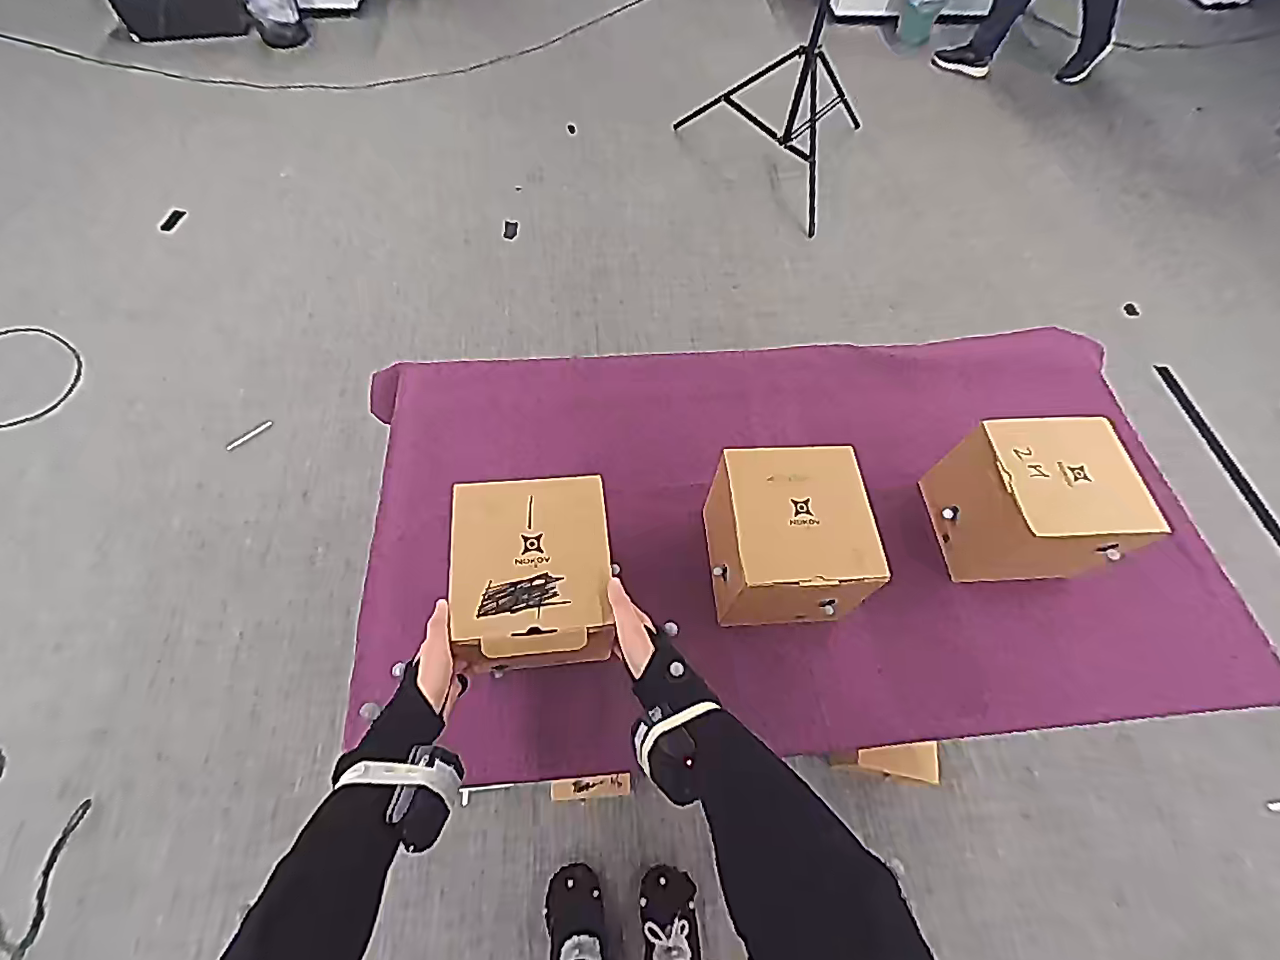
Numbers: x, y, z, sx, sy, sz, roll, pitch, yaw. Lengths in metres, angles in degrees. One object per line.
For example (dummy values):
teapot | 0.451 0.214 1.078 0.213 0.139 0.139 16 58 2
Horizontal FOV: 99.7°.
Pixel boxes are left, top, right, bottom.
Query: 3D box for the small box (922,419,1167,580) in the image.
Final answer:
small box | 0.527 0.031 0.737 0.179 0.176 0.168 -2 61 -4

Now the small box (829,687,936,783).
small box | 0.563 0.596 1.266 0.179 0.176 0.168 11 62 4

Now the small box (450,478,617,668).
small box | -0.118 0.117 0.634 0.168 0.176 0.179 -3 61 -8

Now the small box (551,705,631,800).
small box | -0.109 0.615 1.218 0.168 0.176 0.179 -1 60 -4

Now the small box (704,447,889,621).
small box | 0.184 0.077 0.695 0.168 0.176 0.179 -2 60 -5
